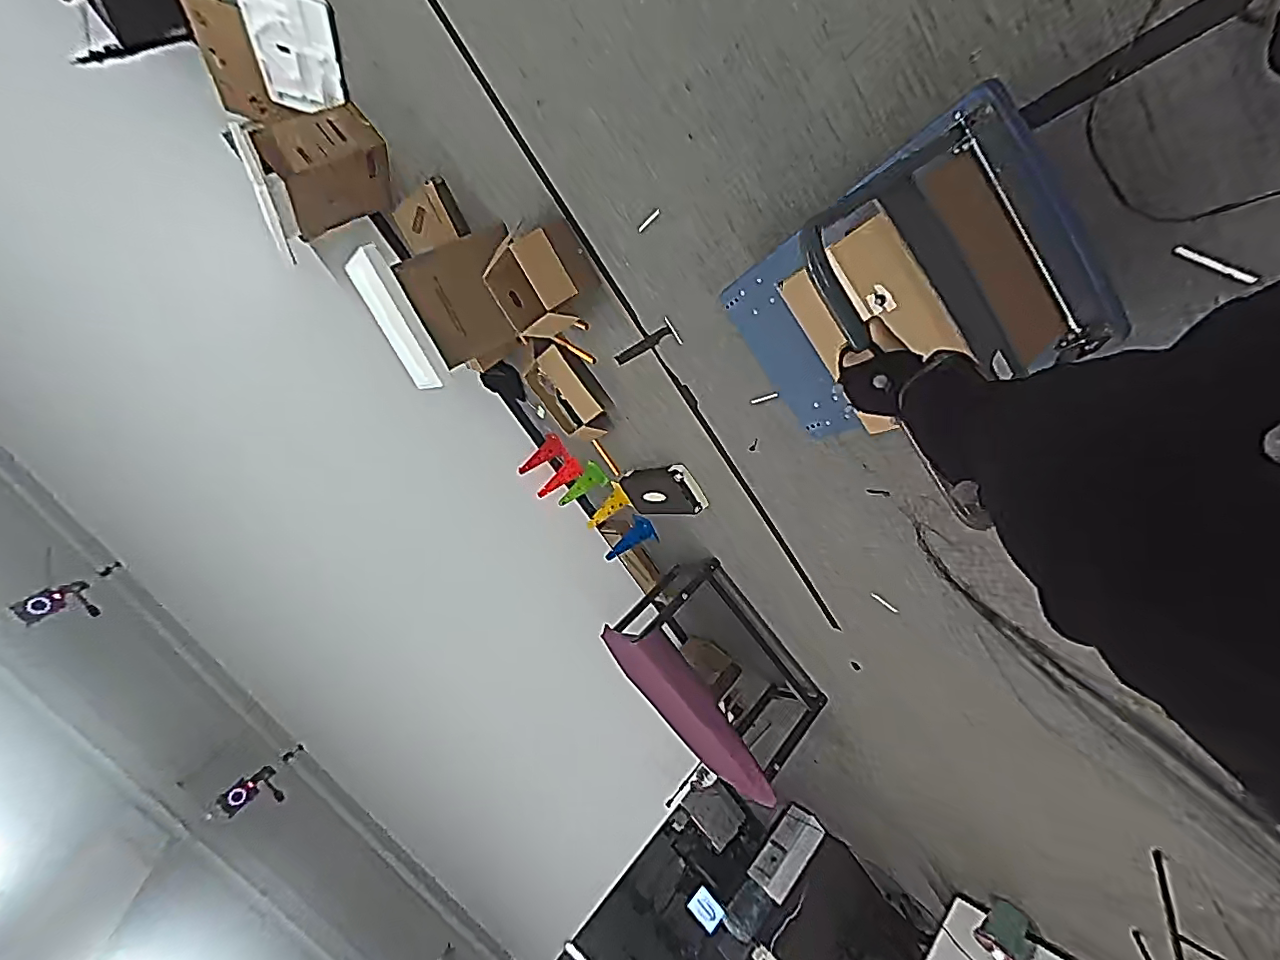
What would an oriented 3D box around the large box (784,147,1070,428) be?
[{"bbox_3d":[0.597,-0.383,1.140,0.408,0.320,0.320,55,154,-8],"label":"large box"}]
